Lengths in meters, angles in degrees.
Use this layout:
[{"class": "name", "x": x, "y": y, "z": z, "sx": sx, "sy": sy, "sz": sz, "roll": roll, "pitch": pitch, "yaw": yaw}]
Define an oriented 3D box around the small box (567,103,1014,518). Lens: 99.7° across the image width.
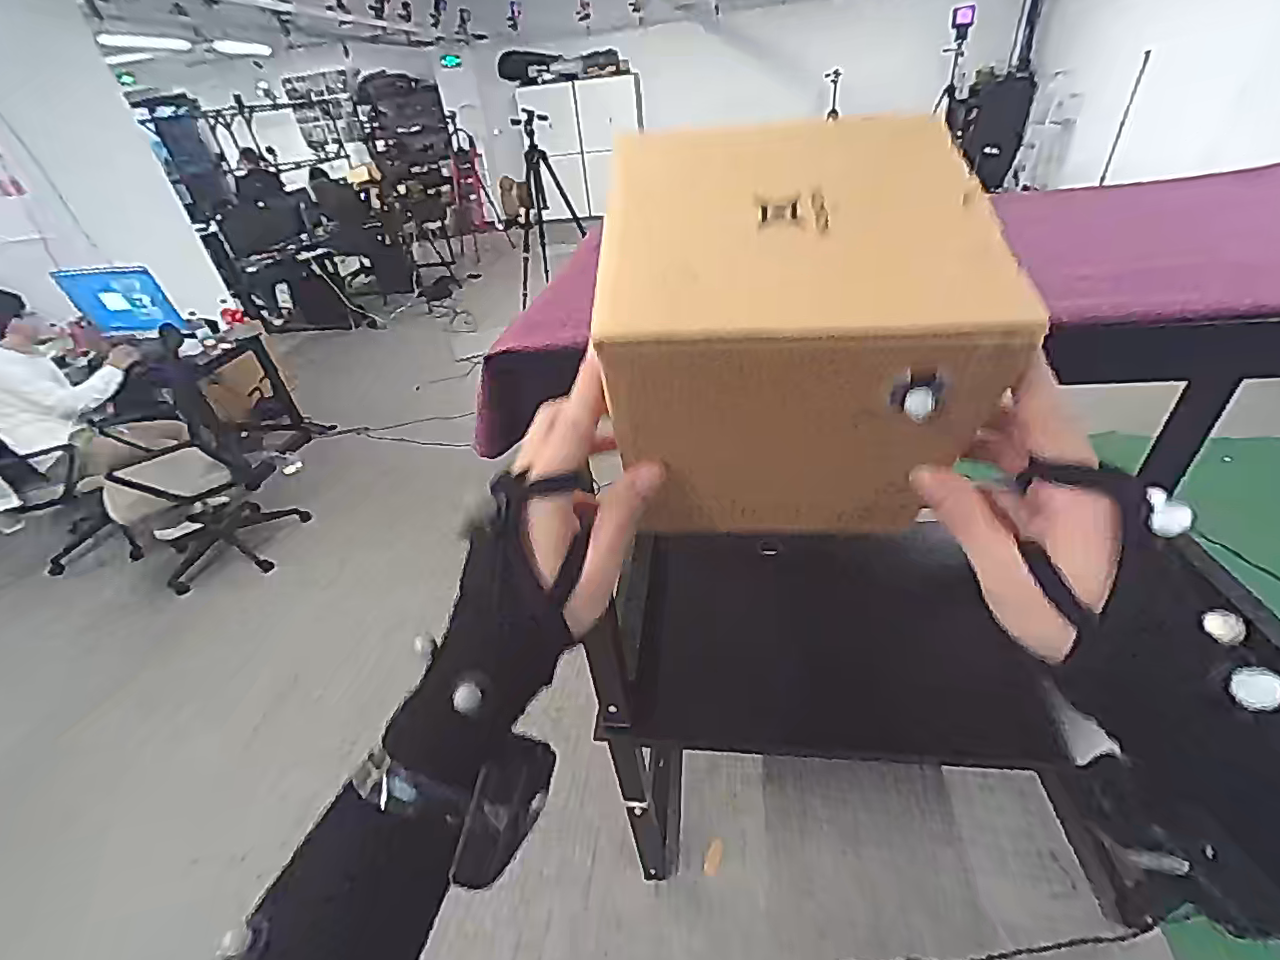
[{"class": "small box", "x": 0.068, "y": -0.085, "z": 0.321, "sx": 0.179, "sy": 0.176, "sz": 0.168, "roll": -1, "pitch": 59, "yaw": 6}]
